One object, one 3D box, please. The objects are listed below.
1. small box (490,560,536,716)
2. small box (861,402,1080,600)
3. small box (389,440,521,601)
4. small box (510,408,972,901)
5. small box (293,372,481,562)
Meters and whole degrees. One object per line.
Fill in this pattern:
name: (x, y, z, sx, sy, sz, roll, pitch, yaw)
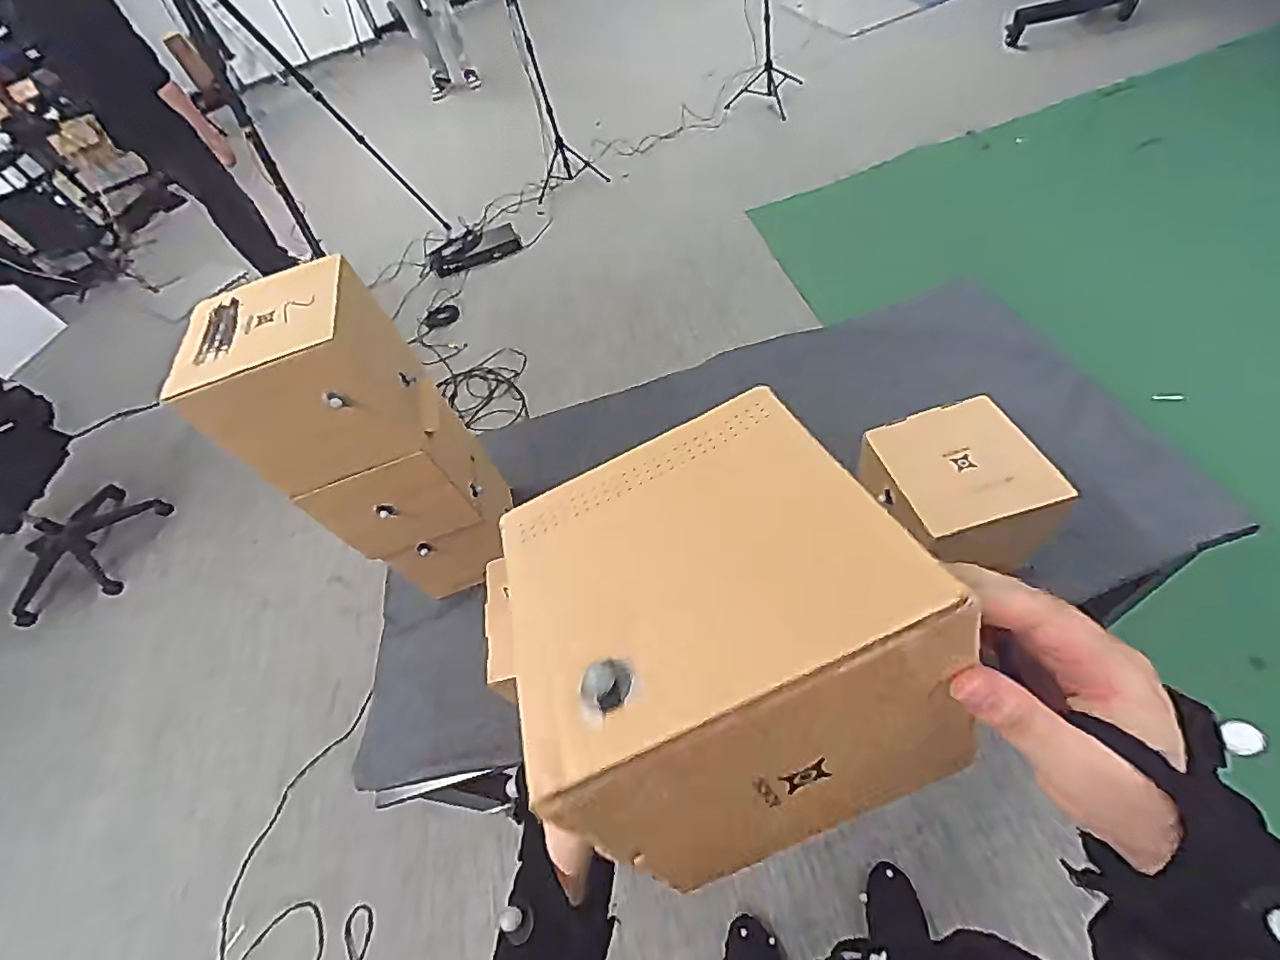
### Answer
small box: (-0.085, 0.203, 0.726, 0.179, 0.176, 0.168, -16, 51, 4)
small box: (0.407, 0.033, 0.709, 0.168, 0.176, 0.179, -18, 50, 4)
small box: (-0.303, 0.070, 0.892, 0.168, 0.176, 0.179, -21, 52, 0)
small box: (0.045, 0.090, 0.300, 0.179, 0.168, 0.176, -28, 40, 4)
small box: (-0.335, -0.013, 0.751, 0.179, 0.176, 0.168, -21, 53, 1)
